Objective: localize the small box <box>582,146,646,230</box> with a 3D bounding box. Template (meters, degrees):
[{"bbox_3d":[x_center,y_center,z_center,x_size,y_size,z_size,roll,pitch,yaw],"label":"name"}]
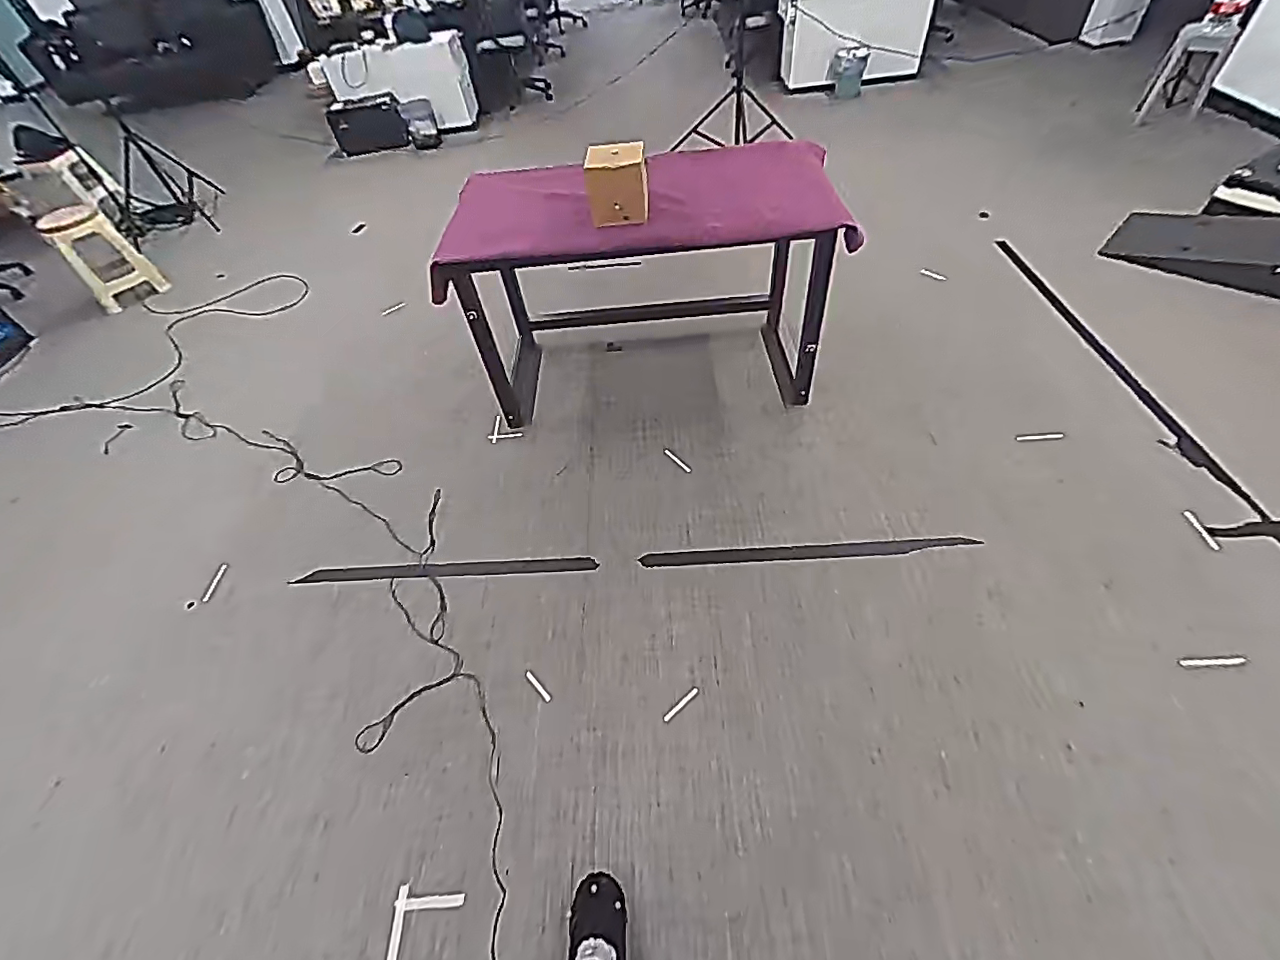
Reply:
[{"bbox_3d":[-0.072,-0.875,1.624,0.168,0.176,0.179,-3,49,5],"label":"small box"}]
